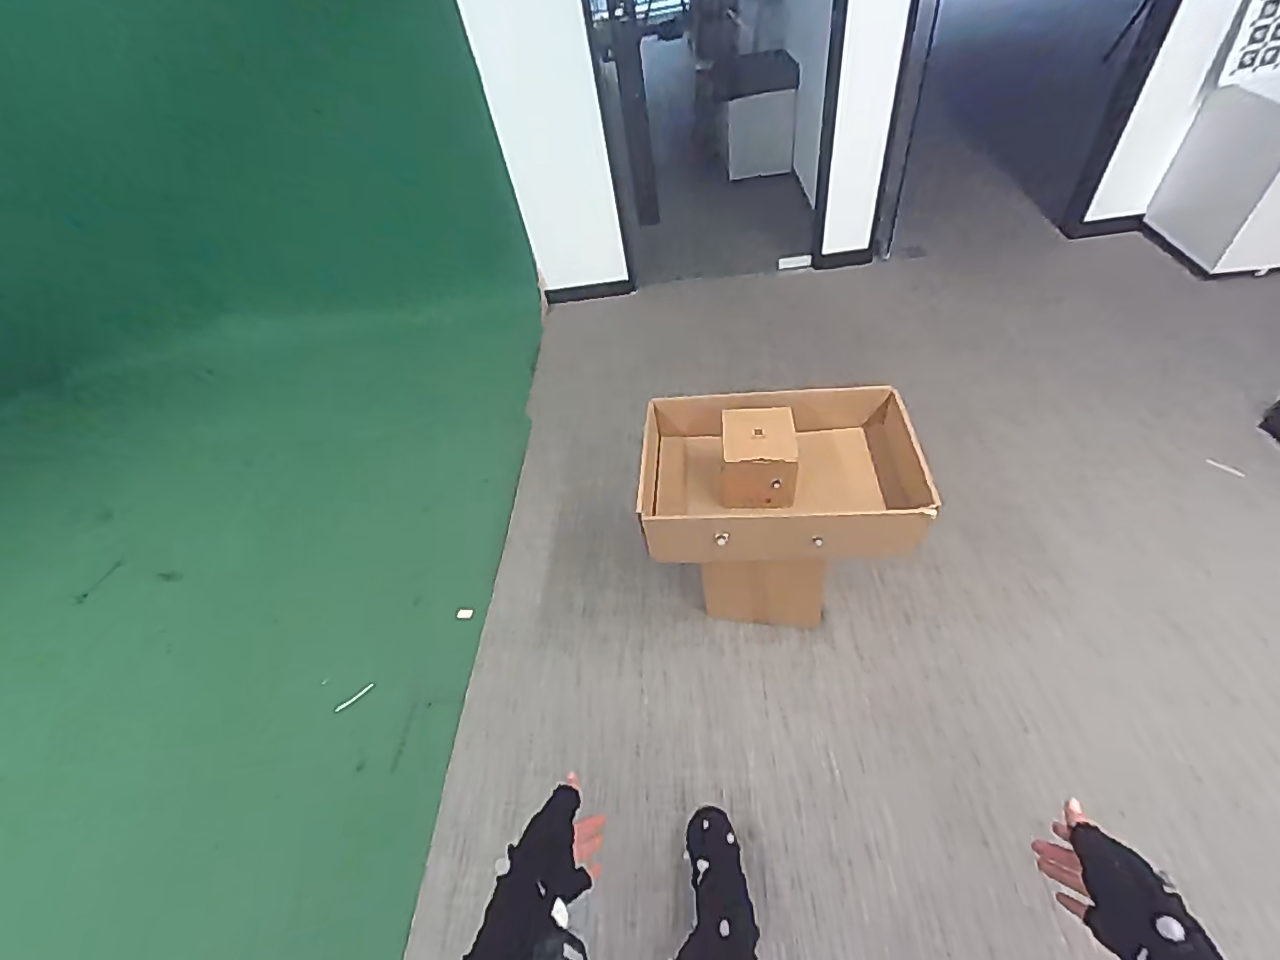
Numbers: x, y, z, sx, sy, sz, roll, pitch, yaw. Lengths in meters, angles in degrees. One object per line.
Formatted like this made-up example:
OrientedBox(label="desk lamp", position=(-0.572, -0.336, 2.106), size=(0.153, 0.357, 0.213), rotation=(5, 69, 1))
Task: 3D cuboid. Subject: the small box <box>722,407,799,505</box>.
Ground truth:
OrientedBox(label="small box", position=(0.283, -0.053, 1.298), size=(0.168, 0.176, 0.179), rotation=(-1, 46, 7))
